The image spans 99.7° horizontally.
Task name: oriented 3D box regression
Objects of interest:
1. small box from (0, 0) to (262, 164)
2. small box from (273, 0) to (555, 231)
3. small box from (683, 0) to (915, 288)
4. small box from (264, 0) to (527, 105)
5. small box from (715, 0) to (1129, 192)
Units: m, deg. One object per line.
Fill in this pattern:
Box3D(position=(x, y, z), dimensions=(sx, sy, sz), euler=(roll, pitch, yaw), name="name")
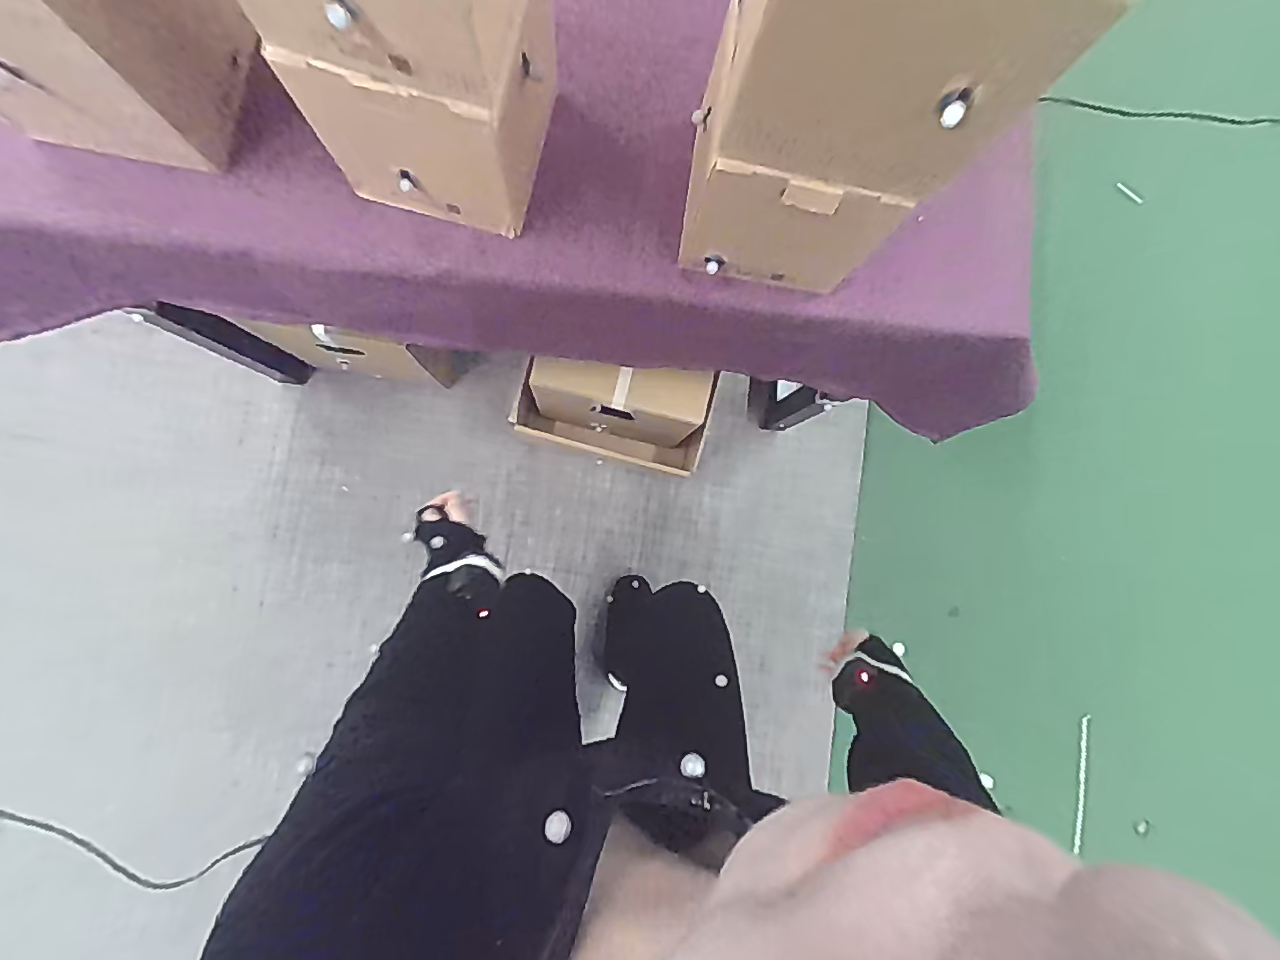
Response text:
Box3D(position=(-0.469, -0.401, 0.451), dimensions=(0.179, 0.176, 0.168), euler=(9, 86, -4), name="small box")
Box3D(position=(-0.175, -0.362, 0.481), dimensions=(0.168, 0.176, 0.179), euler=(13, 86, -5), name="small box")
Box3D(position=(0.140, -0.304, 0.507), dimensions=(0.168, 0.176, 0.179), euler=(9, 84, -5), name="small box")
Box3D(position=(-0.156, -0.380, 0.318), dimensions=(0.168, 0.176, 0.179), euler=(15, 86, -4), name="small box")
Box3D(position=(0.161, -0.318, 0.345), dimensions=(0.179, 0.176, 0.168), euler=(10, 84, -4), name="small box")
